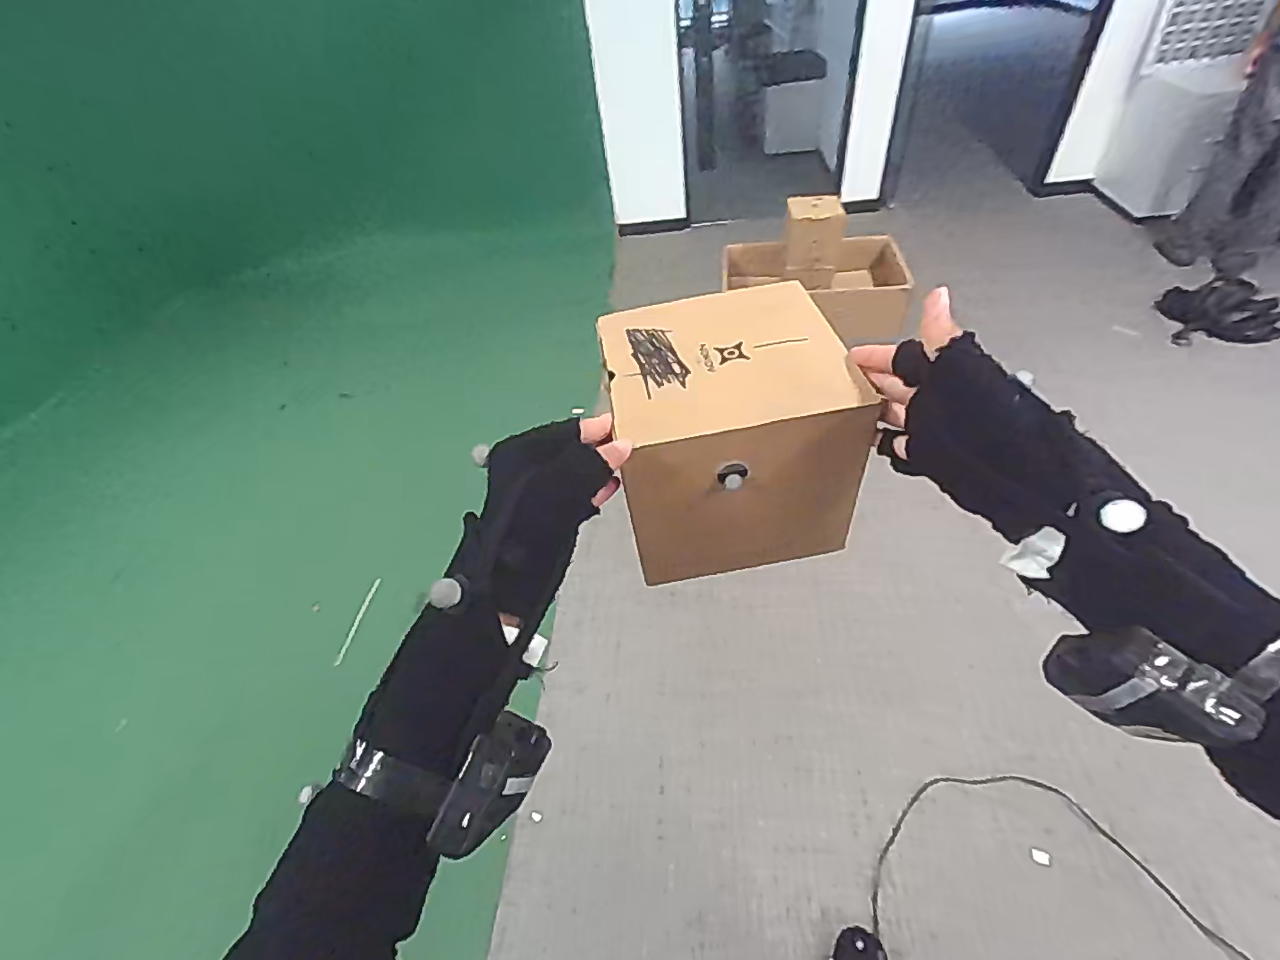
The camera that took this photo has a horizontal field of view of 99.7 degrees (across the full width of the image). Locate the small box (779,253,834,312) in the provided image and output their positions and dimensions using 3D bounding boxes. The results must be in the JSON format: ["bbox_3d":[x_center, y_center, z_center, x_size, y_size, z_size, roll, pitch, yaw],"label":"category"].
[{"bbox_3d":[0.603,-0.722,1.979,0.168,0.176,0.179,1,44,7],"label":"small box"}]

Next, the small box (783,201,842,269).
[{"bbox_3d":[0.591,-0.842,1.868,0.168,0.176,0.179,1,47,7],"label":"small box"}]

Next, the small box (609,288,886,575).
[{"bbox_3d":[0.078,-0.036,0.463,0.179,0.176,0.168,-10,47,0],"label":"small box"}]
